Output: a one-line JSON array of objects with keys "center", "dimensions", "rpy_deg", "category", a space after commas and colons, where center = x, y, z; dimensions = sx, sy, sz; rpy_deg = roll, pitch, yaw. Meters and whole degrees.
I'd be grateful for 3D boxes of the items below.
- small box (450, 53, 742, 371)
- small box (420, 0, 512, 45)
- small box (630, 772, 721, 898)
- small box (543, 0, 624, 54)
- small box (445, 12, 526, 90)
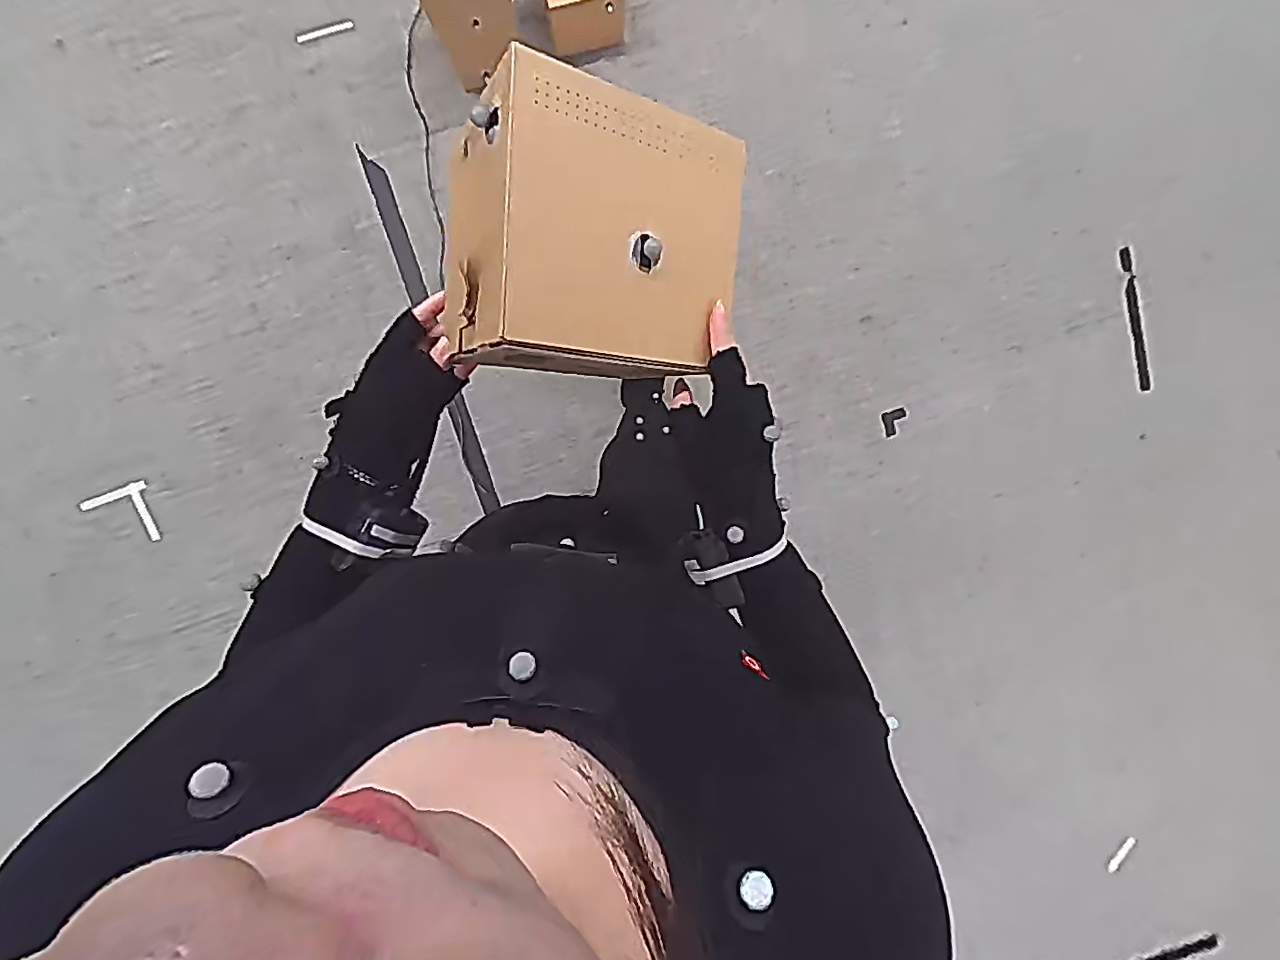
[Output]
[{"center": [-0.041, -0.183, 0.423], "dimensions": [0.179, 0.168, 0.176], "rpy_deg": [-1, 98, -31], "category": "small box"}, {"center": [-0.366, -1.029, 1.082], "dimensions": [0.179, 0.176, 0.168], "rpy_deg": [-18, 97, 0], "category": "small box"}, {"center": [0.079, 0.843, 1.308], "dimensions": [0.168, 0.176, 0.179], "rpy_deg": [-19, 98, -1], "category": "small box"}, {"center": [-0.138, -1.135, 1.249], "dimensions": [0.179, 0.176, 0.168], "rpy_deg": [-16, 97, -2], "category": "small box"}, {"center": [-0.374, -1.054, 1.244], "dimensions": [0.168, 0.176, 0.179], "rpy_deg": [-17, 98, 0], "category": "small box"}]
